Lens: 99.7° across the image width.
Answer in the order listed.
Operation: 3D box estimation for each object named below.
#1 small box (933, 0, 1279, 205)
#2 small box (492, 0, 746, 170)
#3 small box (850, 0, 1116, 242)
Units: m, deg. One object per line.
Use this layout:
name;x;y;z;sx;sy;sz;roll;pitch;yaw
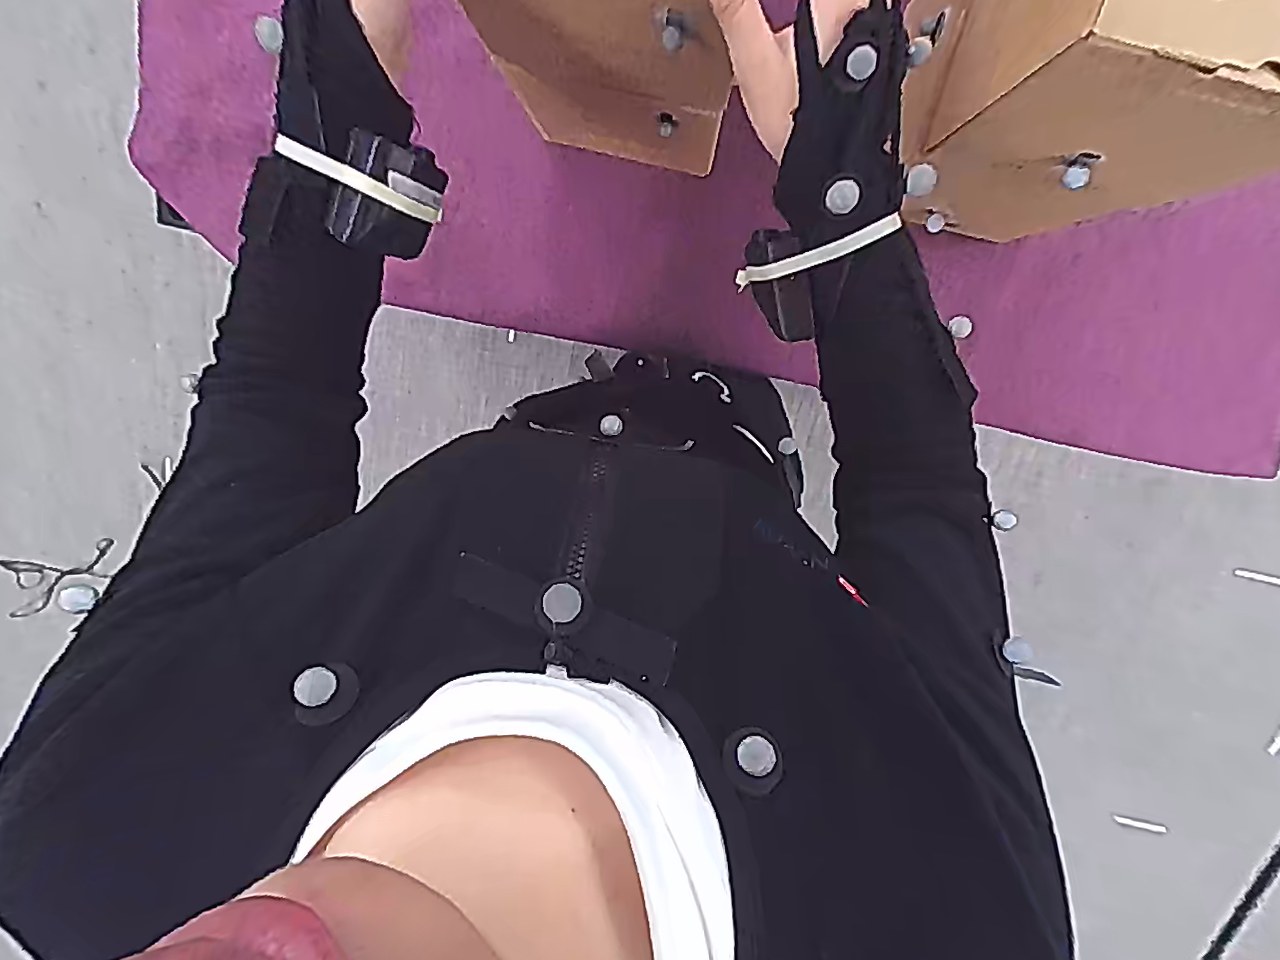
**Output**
small box;0.299;-0.280;0.299;0.168;0.176;0.179;14;105;0
small box;-0.005;-0.389;0.458;0.179;0.176;0.168;12;105;-1
small box;0.302;-0.324;0.458;0.168;0.176;0.179;14;105;-1
